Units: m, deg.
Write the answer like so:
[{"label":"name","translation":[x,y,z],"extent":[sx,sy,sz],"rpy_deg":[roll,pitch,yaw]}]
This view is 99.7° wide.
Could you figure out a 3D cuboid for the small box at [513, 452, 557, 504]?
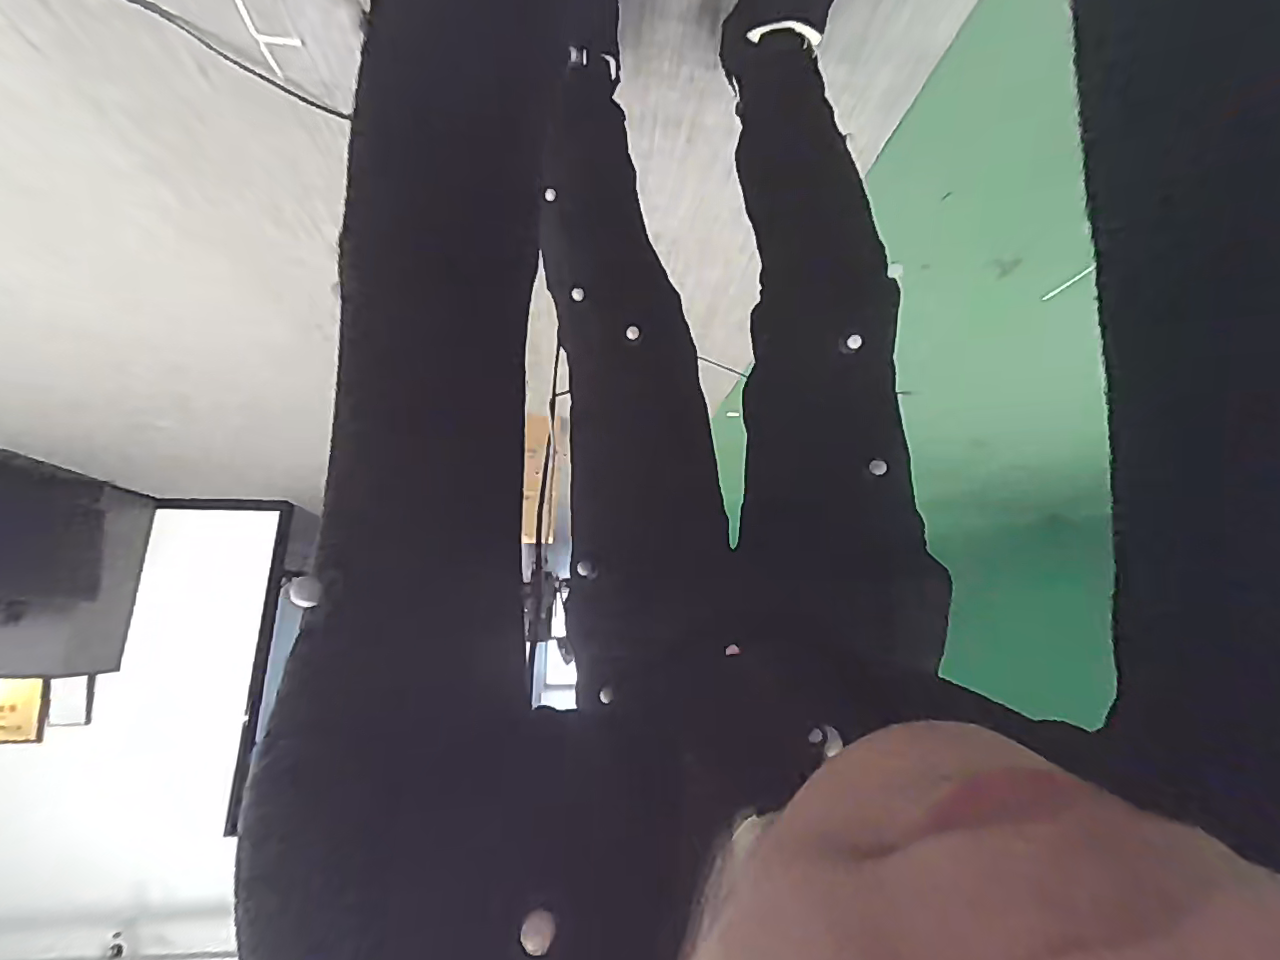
[{"label":"small box","translation":[-0.422,-0.009,2.170],"extent":[0.168,0.176,0.179],"rpy_deg":[3,163,-11]}]

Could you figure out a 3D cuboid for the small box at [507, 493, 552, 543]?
[{"label":"small box","translation":[-0.434,0.152,2.132],"extent":[0.168,0.176,0.179],"rpy_deg":[3,165,-10]}]

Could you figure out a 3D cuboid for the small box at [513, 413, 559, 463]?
[{"label":"small box","translation":[-0.428,-0.166,2.216],"extent":[0.179,0.176,0.168],"rpy_deg":[4,164,-11]}]
